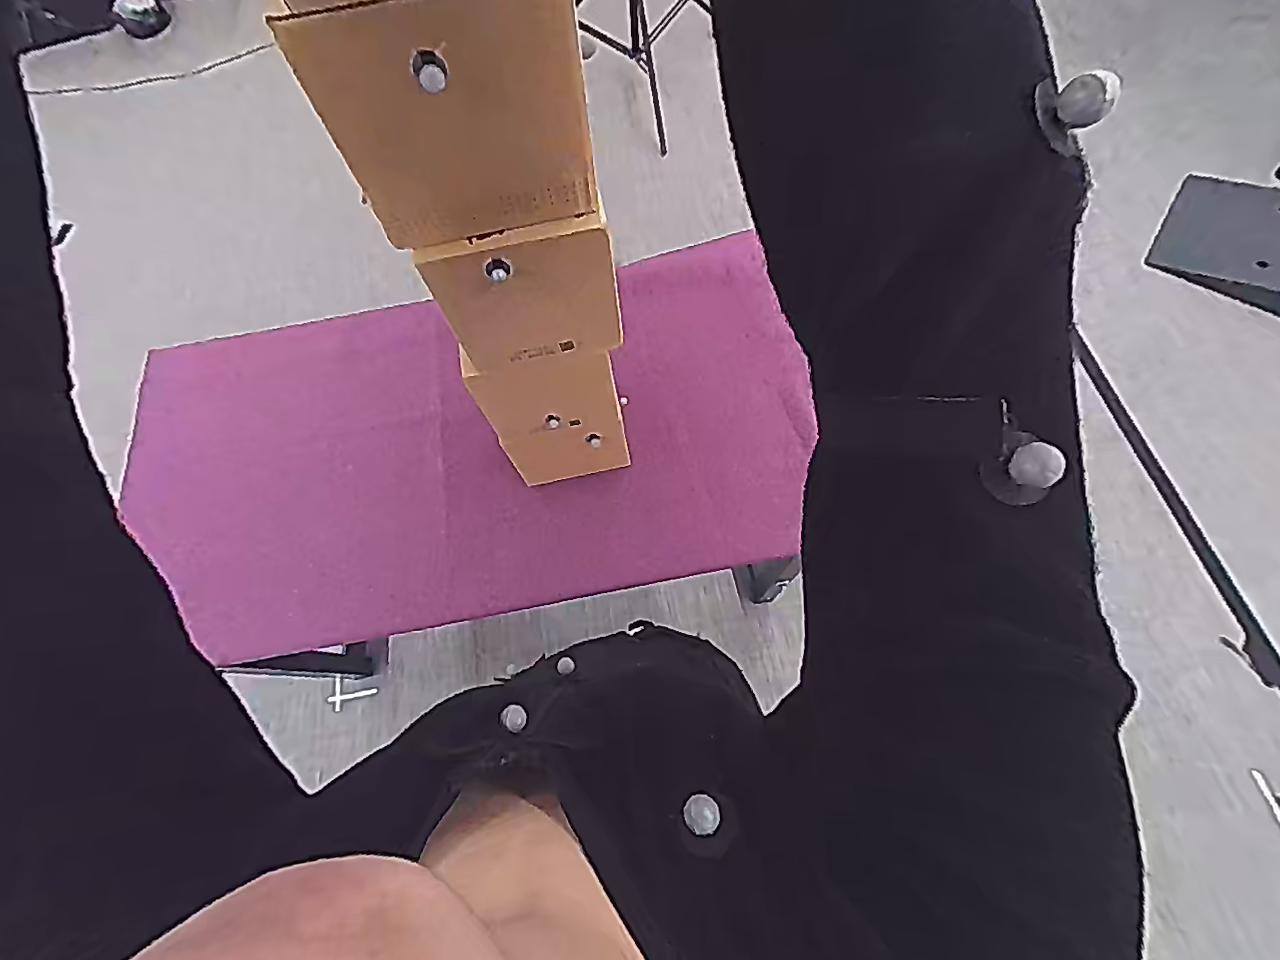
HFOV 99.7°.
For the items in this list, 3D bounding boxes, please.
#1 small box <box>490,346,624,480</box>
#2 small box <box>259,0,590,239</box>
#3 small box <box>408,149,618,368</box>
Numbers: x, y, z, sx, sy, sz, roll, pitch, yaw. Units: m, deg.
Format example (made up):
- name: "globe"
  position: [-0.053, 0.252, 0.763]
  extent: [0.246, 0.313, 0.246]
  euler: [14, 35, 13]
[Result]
- name: "small box"
  position: [-0.123, -0.116, 0.851]
  extent: [0.179, 0.176, 0.168]
  euler: [-12, 67, -1]
- name: "small box"
  position: [-0.138, -0.314, 0.404]
  extent: [0.179, 0.176, 0.168]
  euler: [-12, 68, -2]
- name: "small box"
  position: [-0.121, -0.243, 0.549]
  extent: [0.168, 0.176, 0.179]
  euler: [-12, 67, -2]
